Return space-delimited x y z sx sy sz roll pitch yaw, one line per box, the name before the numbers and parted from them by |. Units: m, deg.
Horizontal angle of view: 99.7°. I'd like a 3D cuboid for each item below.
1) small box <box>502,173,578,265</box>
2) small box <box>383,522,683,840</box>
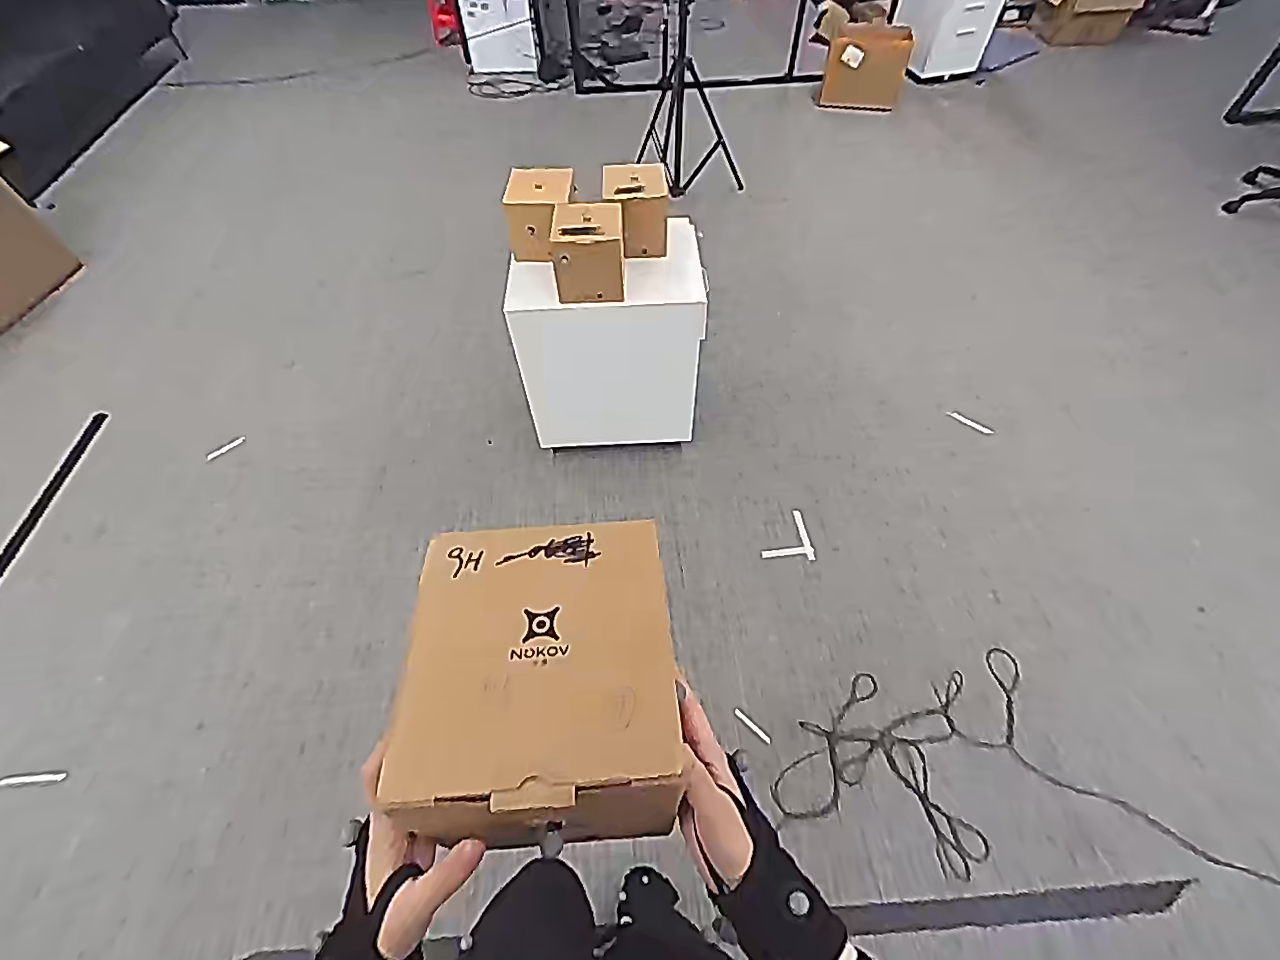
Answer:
small box | -0.261 -0.699 1.460 0.168 0.176 0.179 0 55 1
small box | -0.061 0.153 0.401 0.168 0.176 0.179 -3 50 -3
